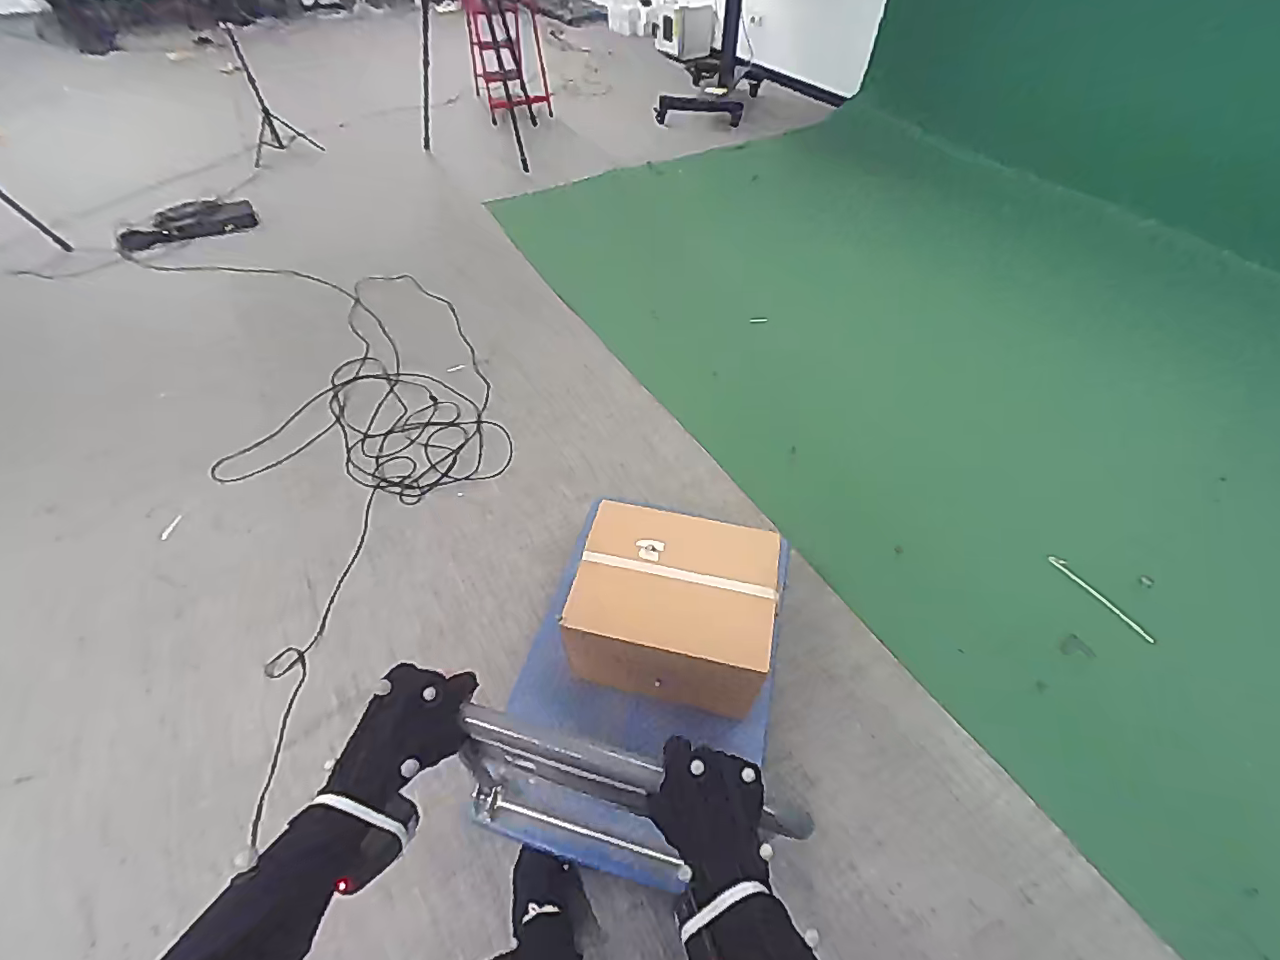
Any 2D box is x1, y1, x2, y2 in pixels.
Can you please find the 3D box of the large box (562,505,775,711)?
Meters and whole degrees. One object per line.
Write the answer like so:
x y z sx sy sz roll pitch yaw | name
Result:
0.076 0.296 1.234 0.408 0.320 0.320 10 51 9 | large box
